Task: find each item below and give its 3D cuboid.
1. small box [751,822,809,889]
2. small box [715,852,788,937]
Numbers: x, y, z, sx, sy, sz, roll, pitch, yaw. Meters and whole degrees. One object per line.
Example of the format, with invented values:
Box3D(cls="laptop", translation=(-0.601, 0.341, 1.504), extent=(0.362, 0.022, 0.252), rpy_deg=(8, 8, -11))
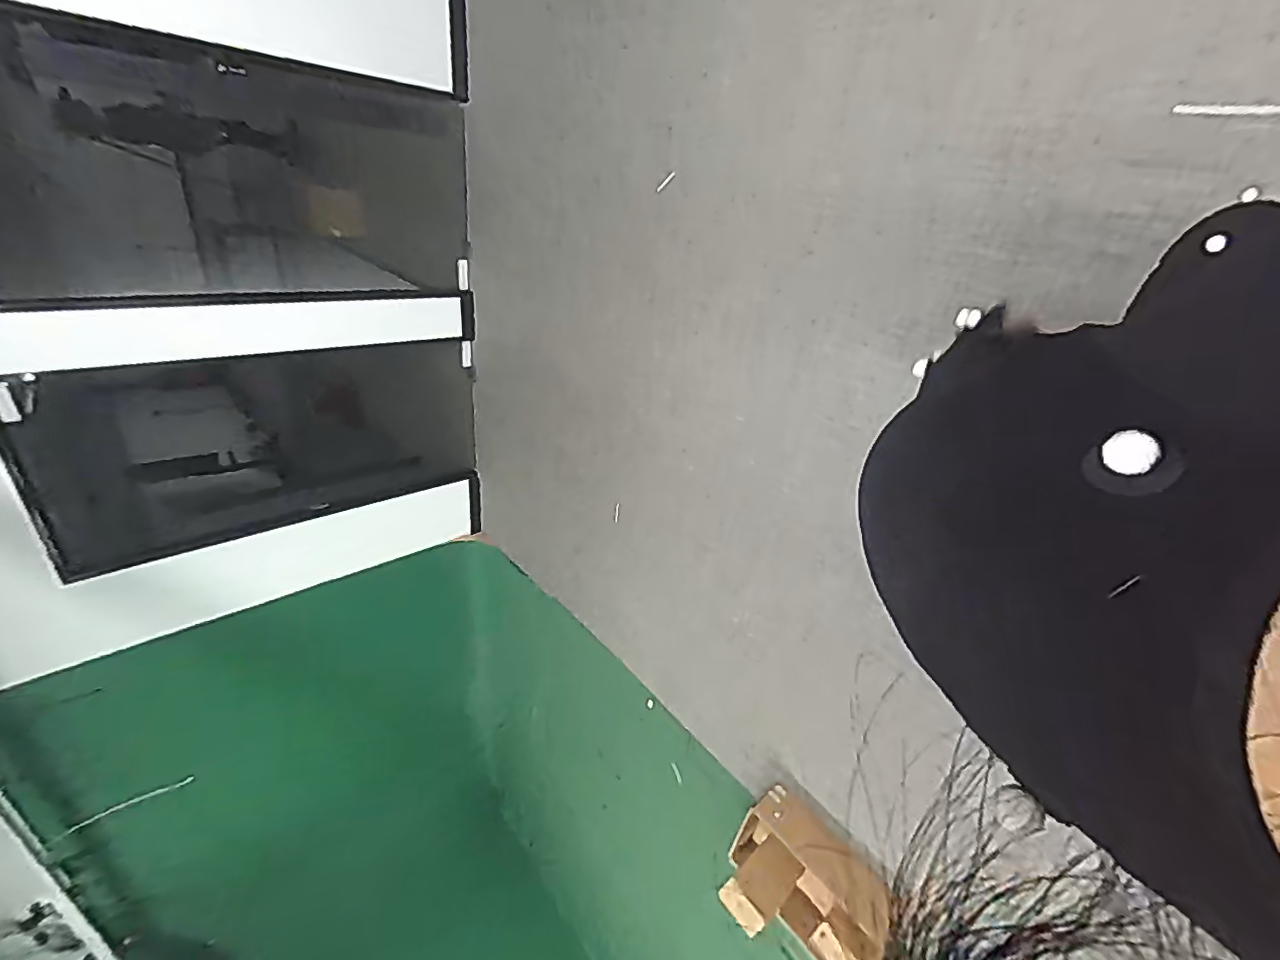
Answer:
Box3D(cls="small box", translation=(0.536, 1.505, 2.130), extent=(0.168, 0.176, 0.179), rpy_deg=(40, 129, 31))
Box3D(cls="small box", translation=(0.417, 1.539, 2.022), extent=(0.179, 0.176, 0.168), rpy_deg=(41, 131, 31))
